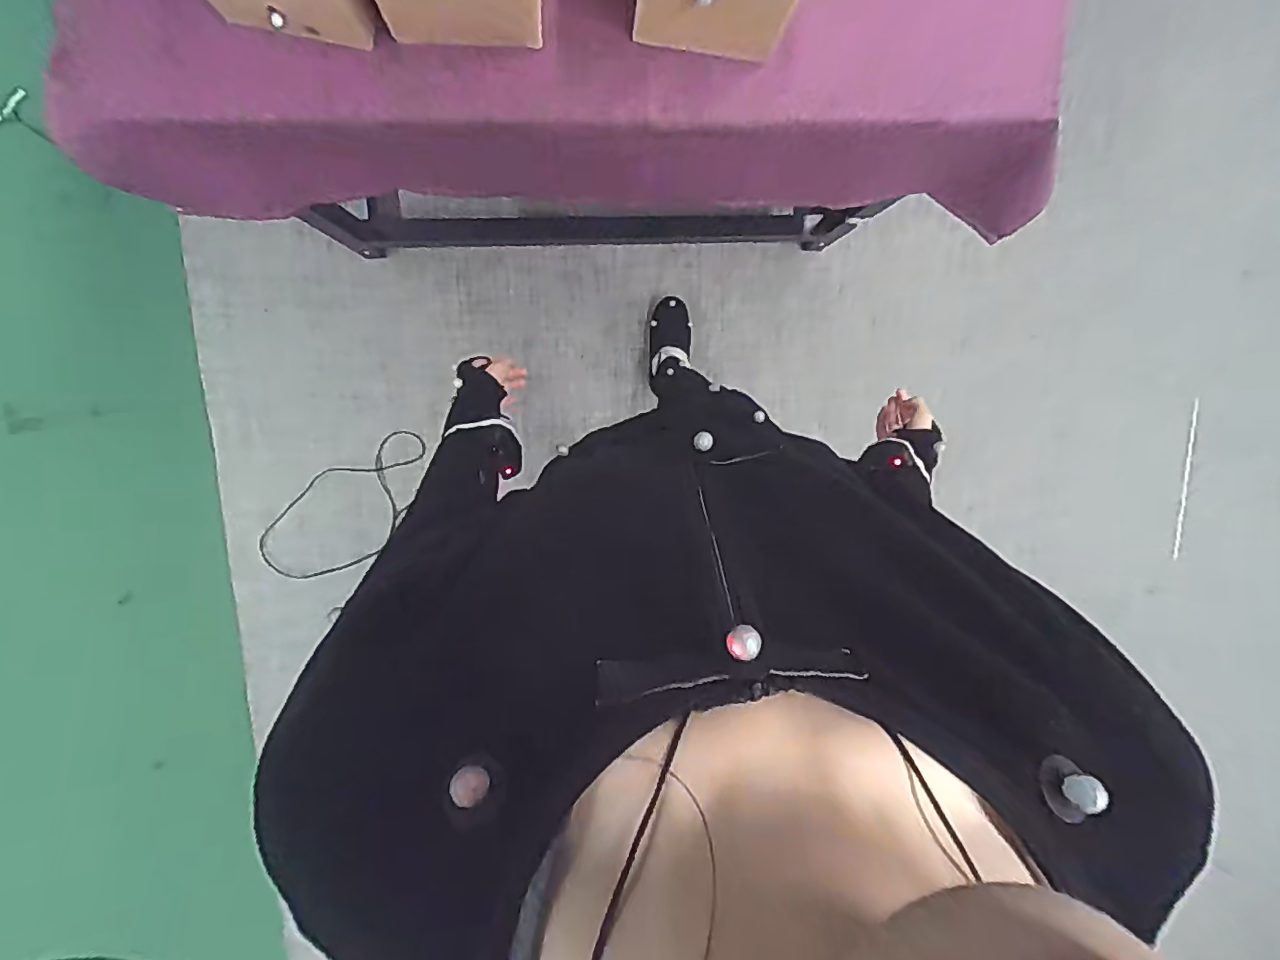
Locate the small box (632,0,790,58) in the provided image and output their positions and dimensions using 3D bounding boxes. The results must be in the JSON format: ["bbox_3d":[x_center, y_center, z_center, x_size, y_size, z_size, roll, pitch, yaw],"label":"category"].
[{"bbox_3d":[0.087,-0.597,0.579,0.179,0.176,0.168,5,98,-5],"label":"small box"}]
